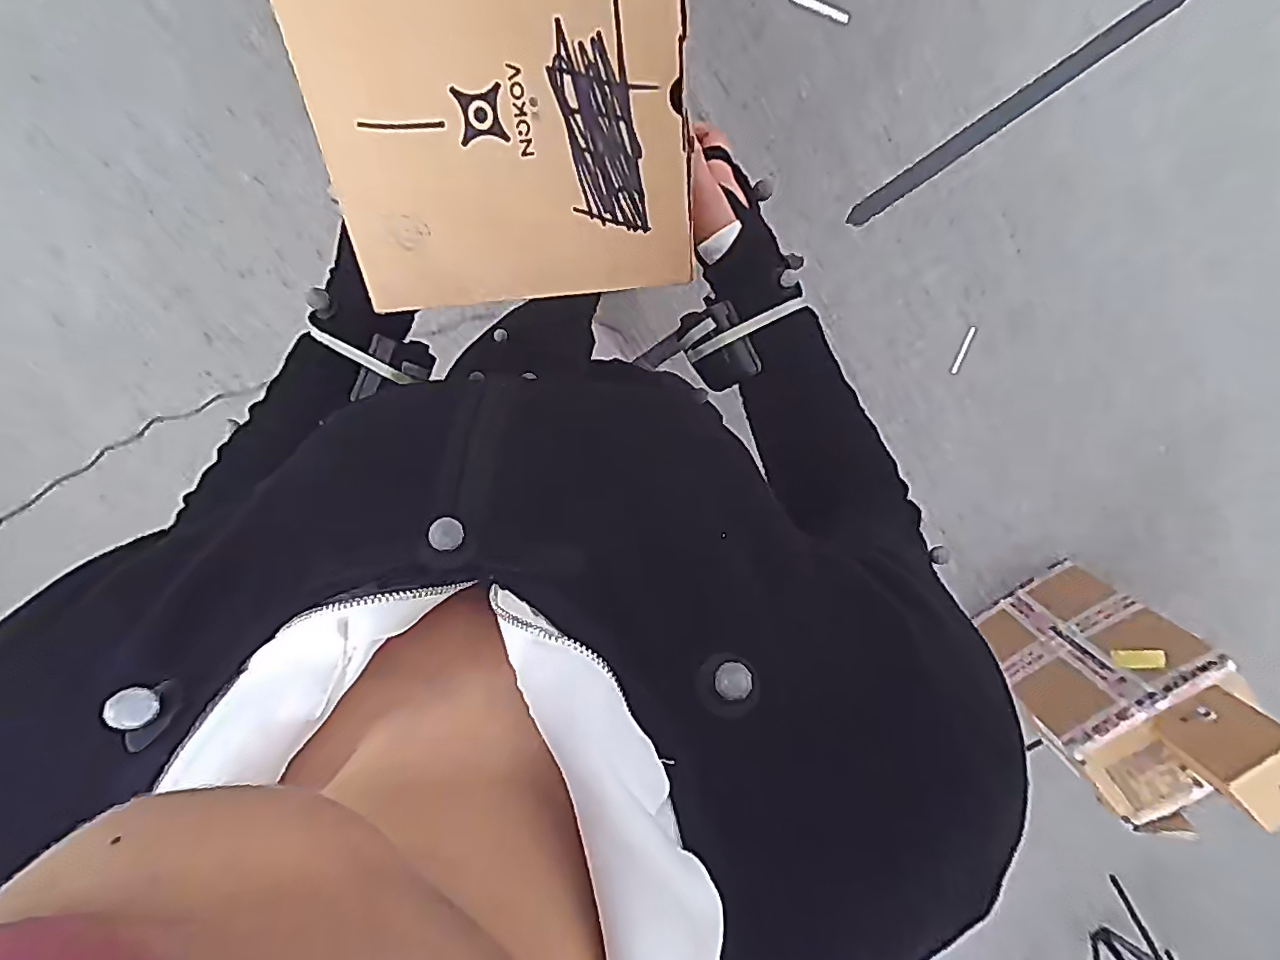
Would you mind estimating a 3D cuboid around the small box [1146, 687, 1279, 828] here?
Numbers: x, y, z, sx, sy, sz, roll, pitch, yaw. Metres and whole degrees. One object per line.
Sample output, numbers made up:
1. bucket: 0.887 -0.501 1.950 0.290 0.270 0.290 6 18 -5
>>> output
1. small box: 1.268 0.585 1.160 0.179 0.176 0.168 42 101 -10
